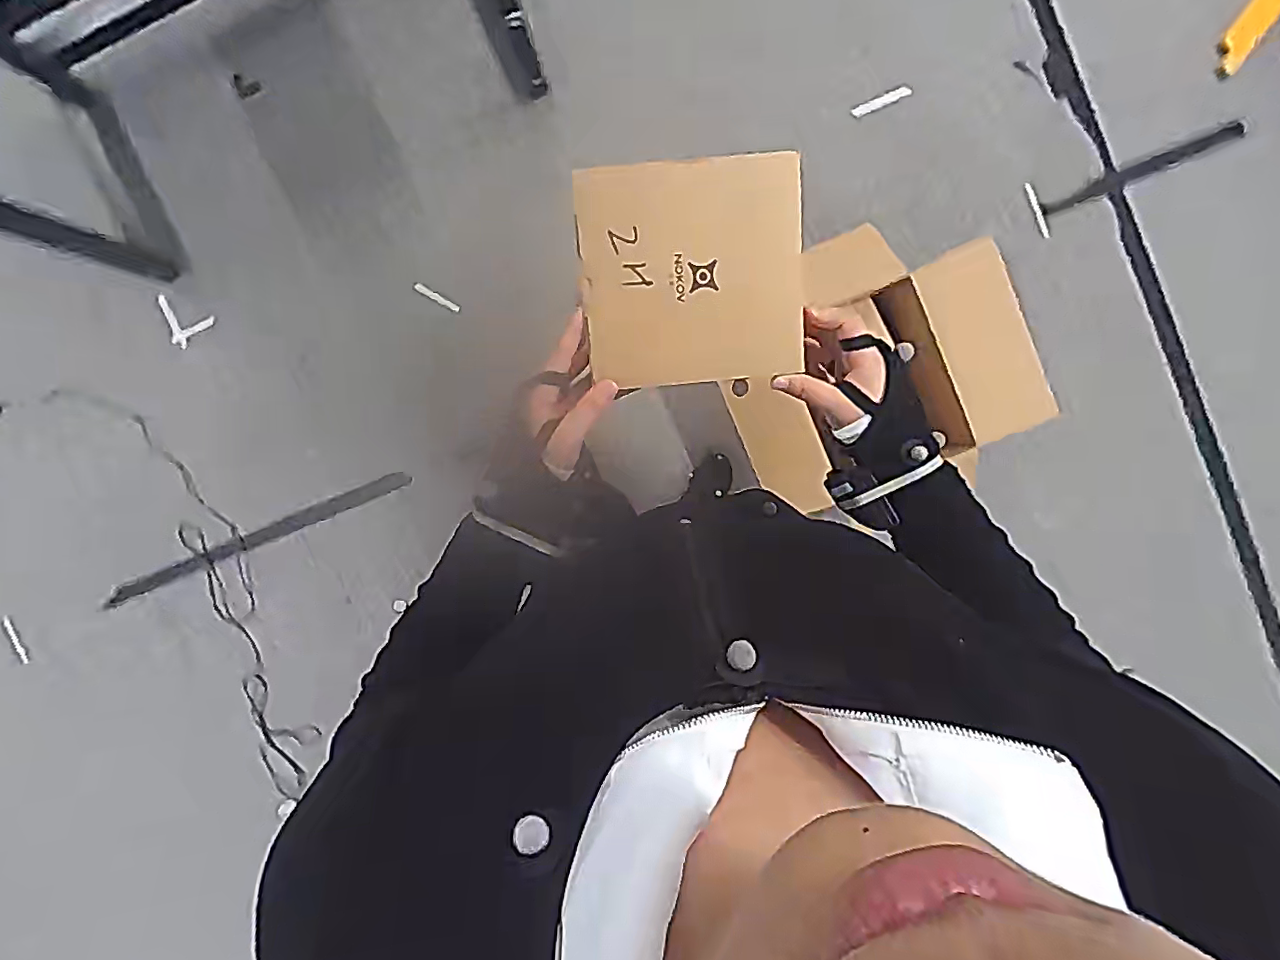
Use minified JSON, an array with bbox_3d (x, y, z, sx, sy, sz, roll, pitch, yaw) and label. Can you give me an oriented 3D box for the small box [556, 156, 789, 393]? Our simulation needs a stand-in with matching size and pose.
[{"bbox_3d":[0.026,-0.178,0.504,0.179,0.176,0.168,-7,103,0],"label":"small box"}]
